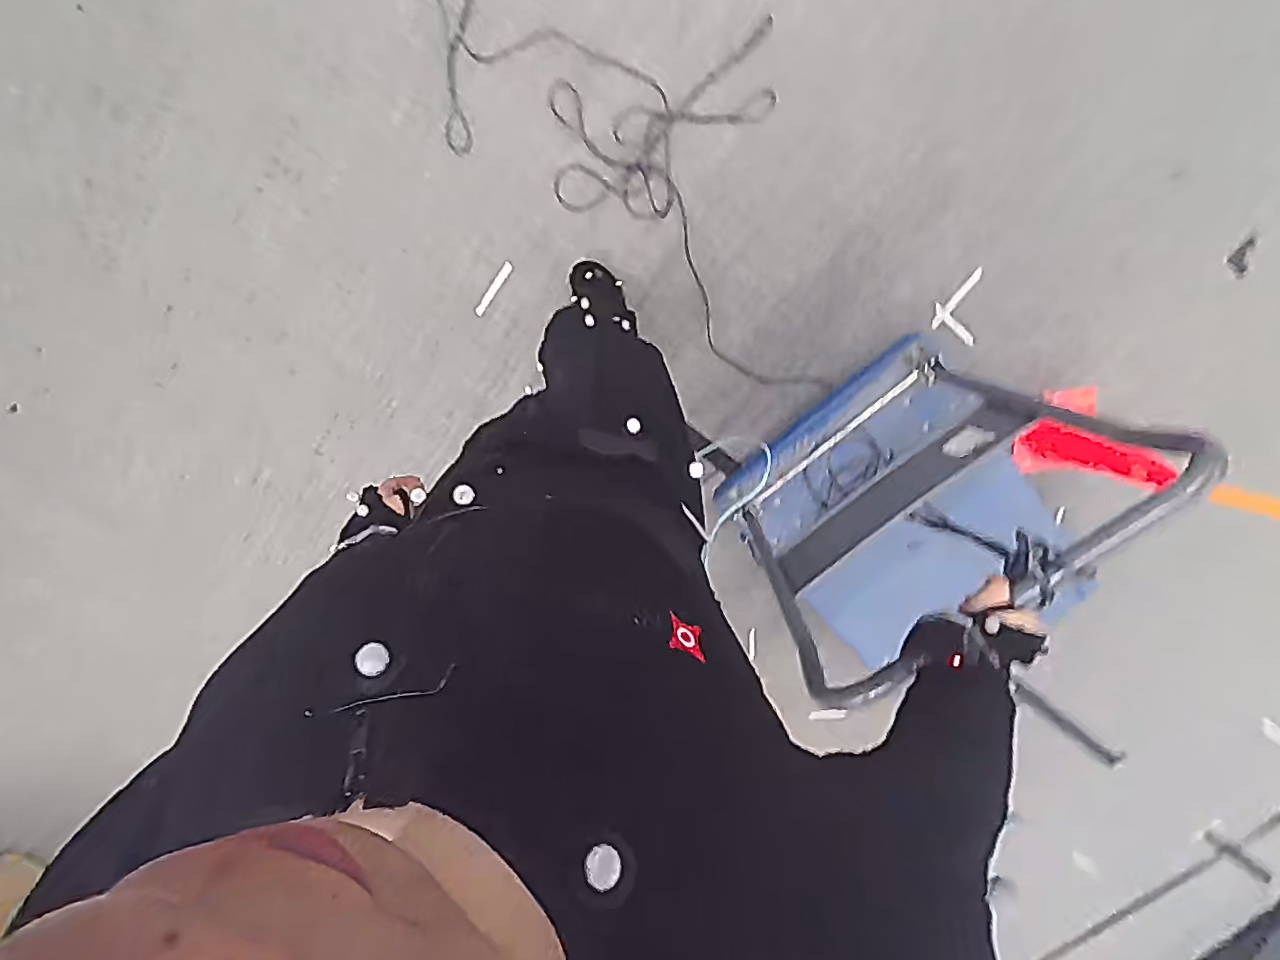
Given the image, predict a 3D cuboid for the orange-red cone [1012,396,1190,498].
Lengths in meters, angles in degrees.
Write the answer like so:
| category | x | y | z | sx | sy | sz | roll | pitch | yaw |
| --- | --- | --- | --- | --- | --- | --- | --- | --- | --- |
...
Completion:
| category | x | y | z | sx | sy | sz | roll | pitch | yaw |
| --- | --- | --- | --- | --- | --- | --- | --- | --- | --- |
| orange-red cone | 1.073 | -0.048 | 1.236 | 0.198 | 0.360 | 0.199 | -7 | 114 | 1 |
